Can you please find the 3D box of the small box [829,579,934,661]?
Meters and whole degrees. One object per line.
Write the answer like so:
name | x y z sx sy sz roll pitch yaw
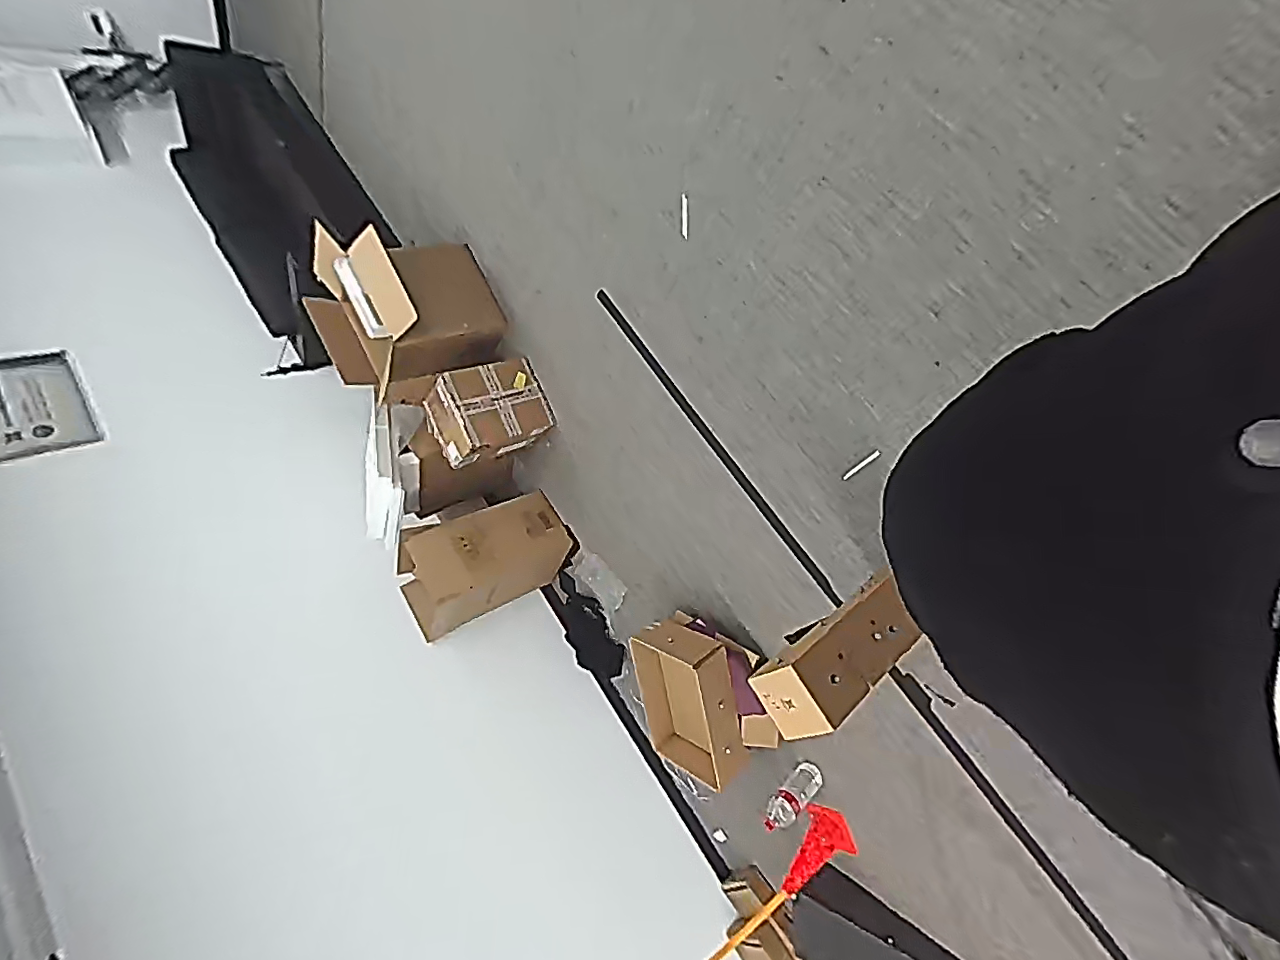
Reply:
small box | 0.665 0.403 1.494 0.168 0.176 0.179 55 143 17

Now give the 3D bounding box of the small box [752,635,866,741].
small box | 0.413 0.498 1.304 0.168 0.176 0.179 58 143 14

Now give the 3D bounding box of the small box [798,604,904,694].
small box | 0.539 0.450 1.399 0.168 0.176 0.179 55 142 17

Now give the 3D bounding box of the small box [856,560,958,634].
small box | 0.787 0.355 1.592 0.179 0.176 0.168 55 142 15
